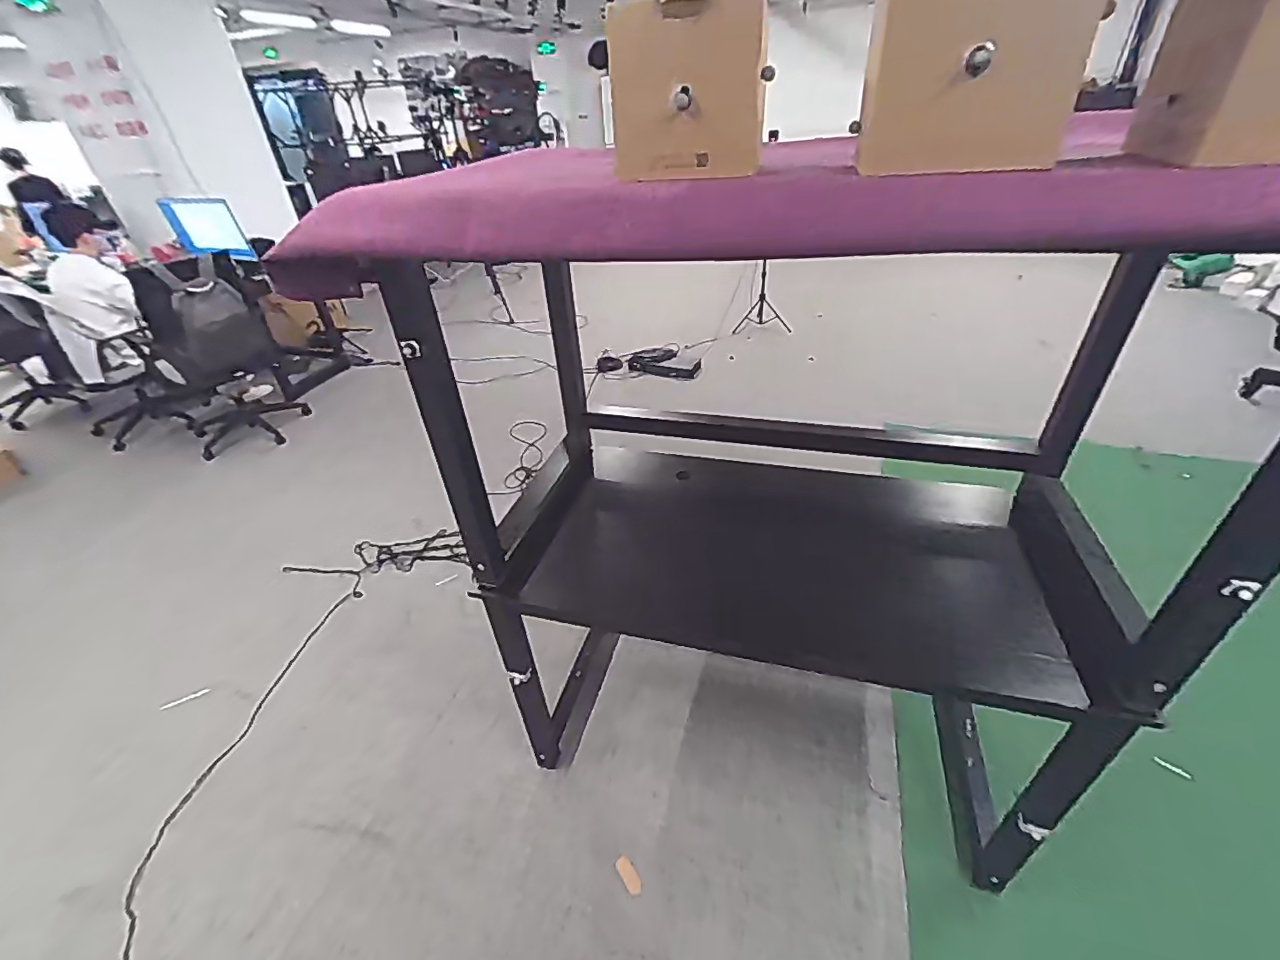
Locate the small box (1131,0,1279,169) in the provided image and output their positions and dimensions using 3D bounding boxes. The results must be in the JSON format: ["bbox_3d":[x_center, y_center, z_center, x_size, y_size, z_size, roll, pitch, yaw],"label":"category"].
[{"bbox_3d":[0.599,-0.384,0.477,0.179,0.176,0.168,6,36,17],"label":"small box"}]

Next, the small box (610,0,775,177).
[{"bbox_3d":[0.071,-0.468,0.653,0.168,0.176,0.179,5,35,12],"label":"small box"}]
